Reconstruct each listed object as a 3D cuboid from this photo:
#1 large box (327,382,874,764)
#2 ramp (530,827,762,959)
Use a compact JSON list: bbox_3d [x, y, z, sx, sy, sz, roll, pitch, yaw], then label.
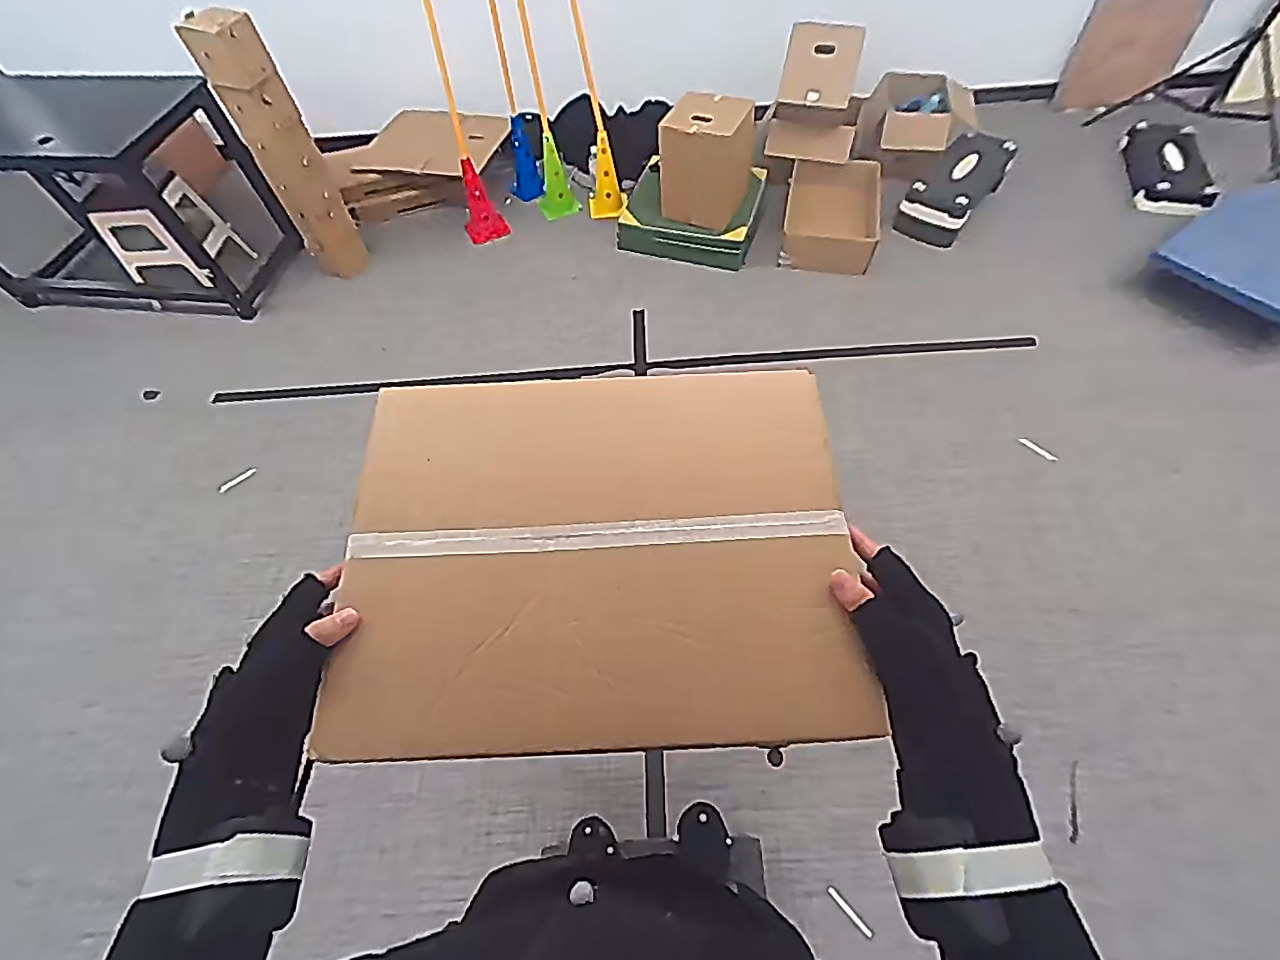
[{"bbox_3d":[-0.031,0.116,0.585,0.408,0.320,0.320,-2,64,-1],"label":"large box"},{"bbox_3d":[0.024,1.255,1.039,0.509,0.206,0.991,-3,59,-1],"label":"ramp"}]
